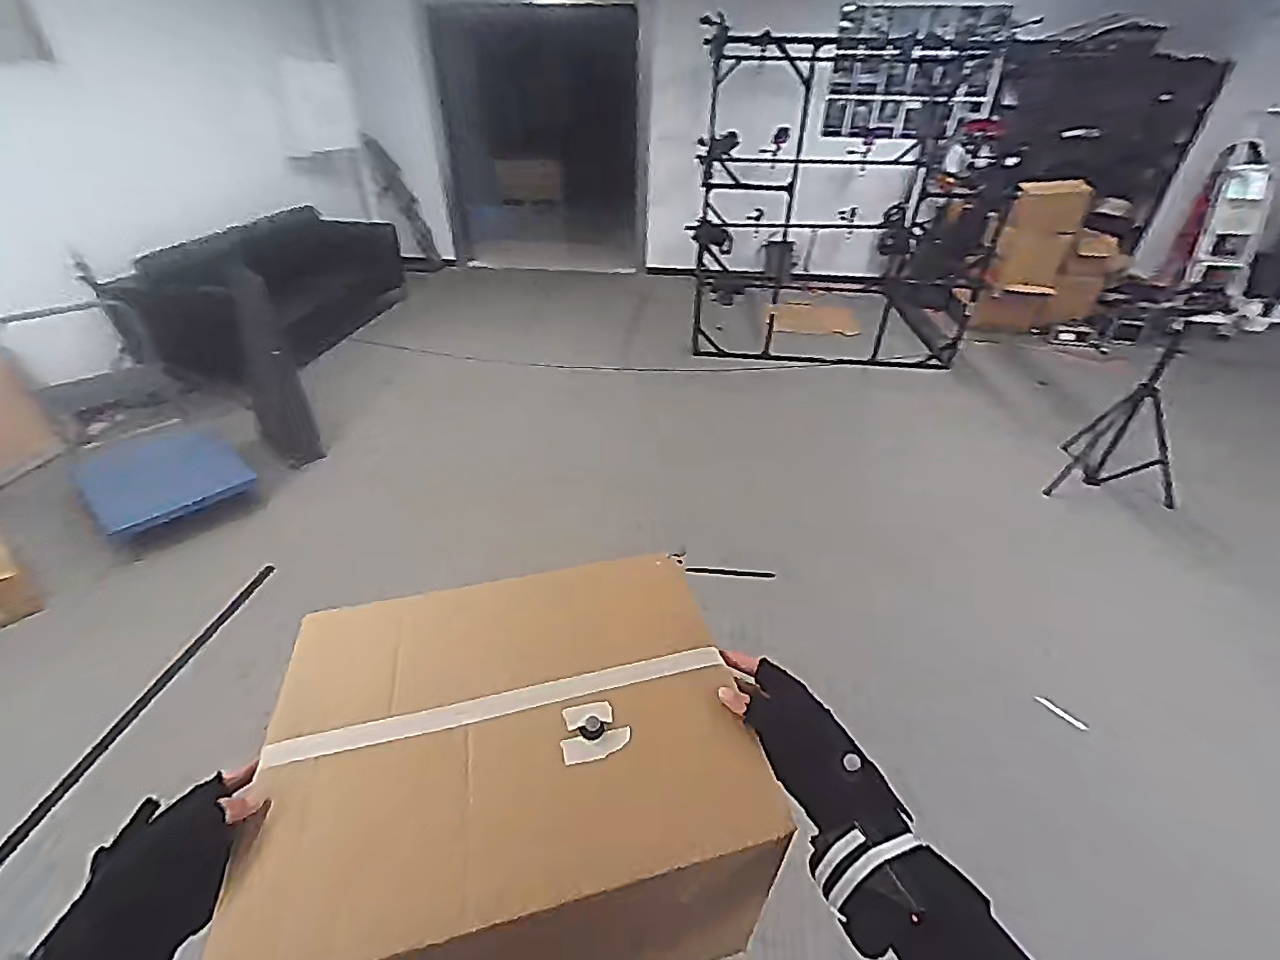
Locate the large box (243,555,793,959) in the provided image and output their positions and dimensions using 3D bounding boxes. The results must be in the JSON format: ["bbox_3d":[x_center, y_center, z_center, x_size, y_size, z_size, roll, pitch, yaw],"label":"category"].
[{"bbox_3d":[-0.107,0.325,0.590,0.408,0.320,0.320,-7,38,-12],"label":"large box"}]
